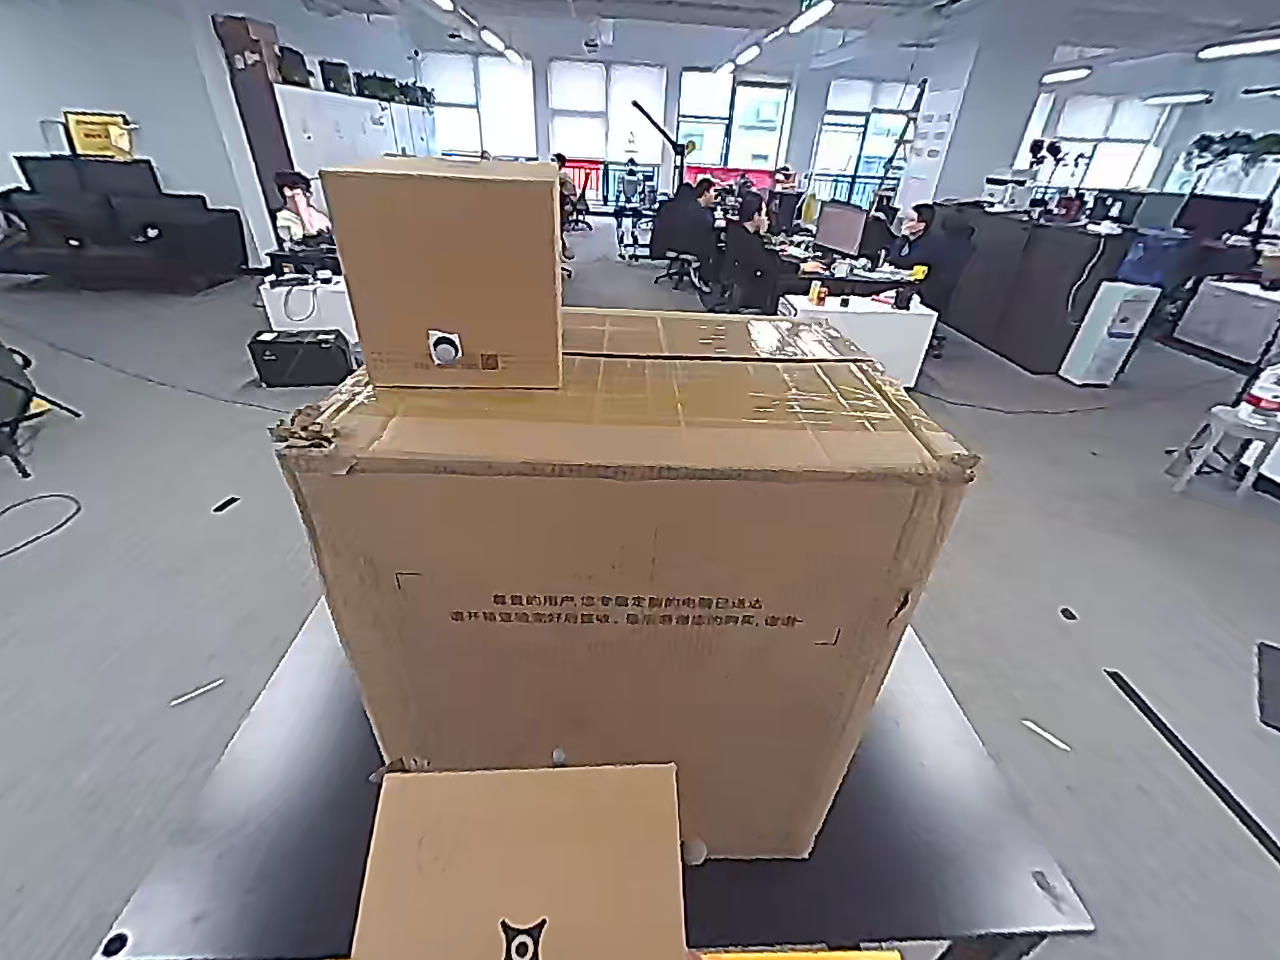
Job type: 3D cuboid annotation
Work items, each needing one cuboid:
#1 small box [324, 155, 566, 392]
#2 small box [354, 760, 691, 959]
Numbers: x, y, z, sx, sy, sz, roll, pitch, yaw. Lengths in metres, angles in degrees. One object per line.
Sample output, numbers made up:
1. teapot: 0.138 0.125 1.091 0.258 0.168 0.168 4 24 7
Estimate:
1. small box: -0.155 -0.192 0.498 0.168 0.176 0.179 -2 35 -7
2. small box: -0.058 0.277 0.330 0.168 0.176 0.179 -2 60 -1
